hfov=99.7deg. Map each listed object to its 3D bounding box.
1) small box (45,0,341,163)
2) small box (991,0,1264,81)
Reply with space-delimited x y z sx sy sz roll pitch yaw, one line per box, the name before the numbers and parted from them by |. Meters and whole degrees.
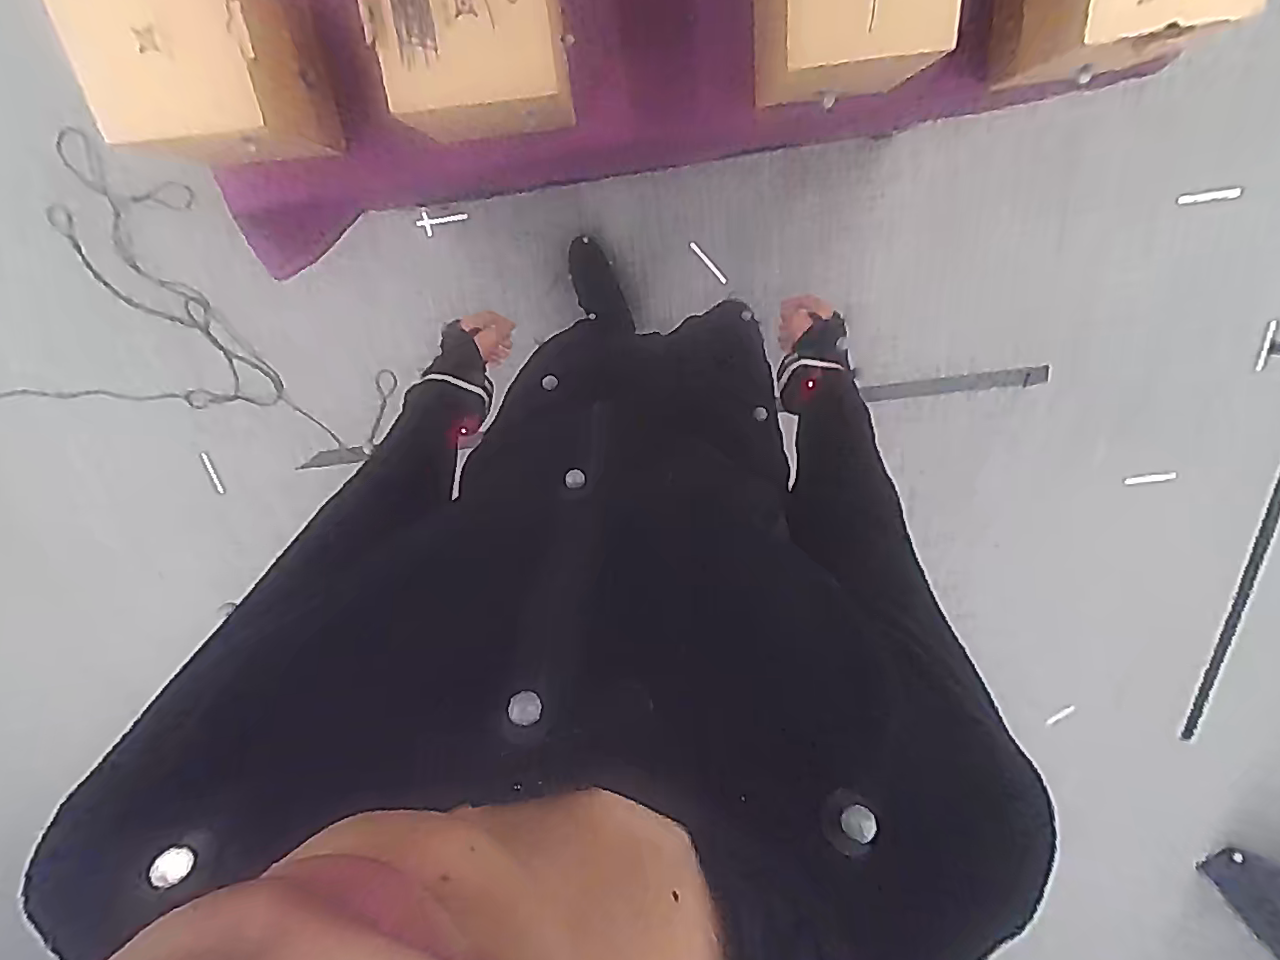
small box | -0.475 -0.461 0.597 0.179 0.176 0.168 -6 114 1
small box | 0.494 -0.545 0.553 0.168 0.176 0.179 -7 114 5
